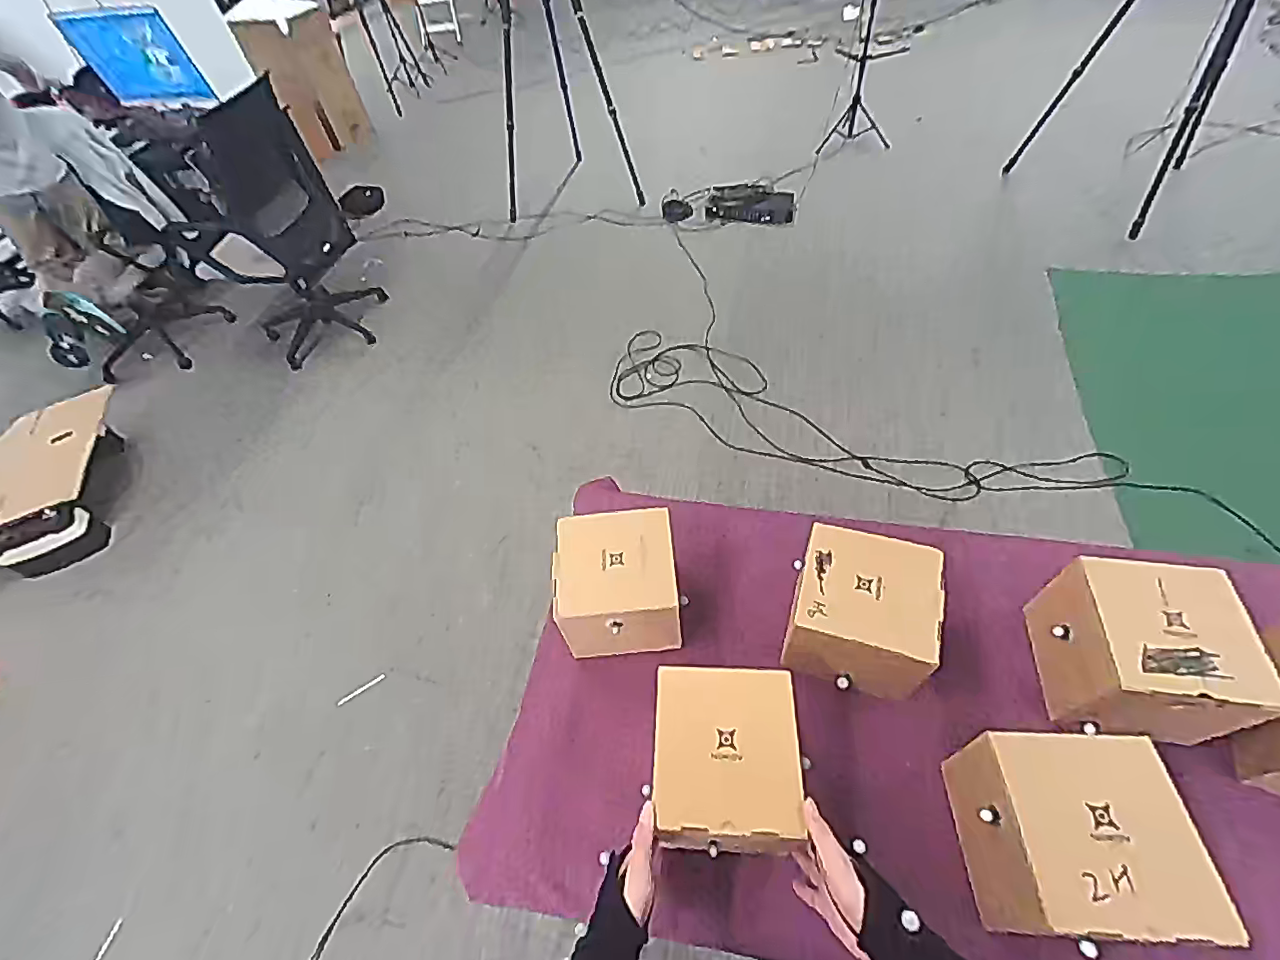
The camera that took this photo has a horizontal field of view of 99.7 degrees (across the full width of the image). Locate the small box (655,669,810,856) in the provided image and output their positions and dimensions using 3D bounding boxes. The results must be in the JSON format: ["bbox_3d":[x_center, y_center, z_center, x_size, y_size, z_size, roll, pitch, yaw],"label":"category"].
[{"bbox_3d":[0.106,0.356,0.680,0.168,0.176,0.179,0,52,5],"label":"small box"}]

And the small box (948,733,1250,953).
[{"bbox_3d":[0.470,0.398,0.598,0.168,0.176,0.179,-1,51,8],"label":"small box"}]

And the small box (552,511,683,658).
[{"bbox_3d":[-0.029,0.169,0.847,0.179,0.176,0.168,-5,53,3],"label":"small box"}]
